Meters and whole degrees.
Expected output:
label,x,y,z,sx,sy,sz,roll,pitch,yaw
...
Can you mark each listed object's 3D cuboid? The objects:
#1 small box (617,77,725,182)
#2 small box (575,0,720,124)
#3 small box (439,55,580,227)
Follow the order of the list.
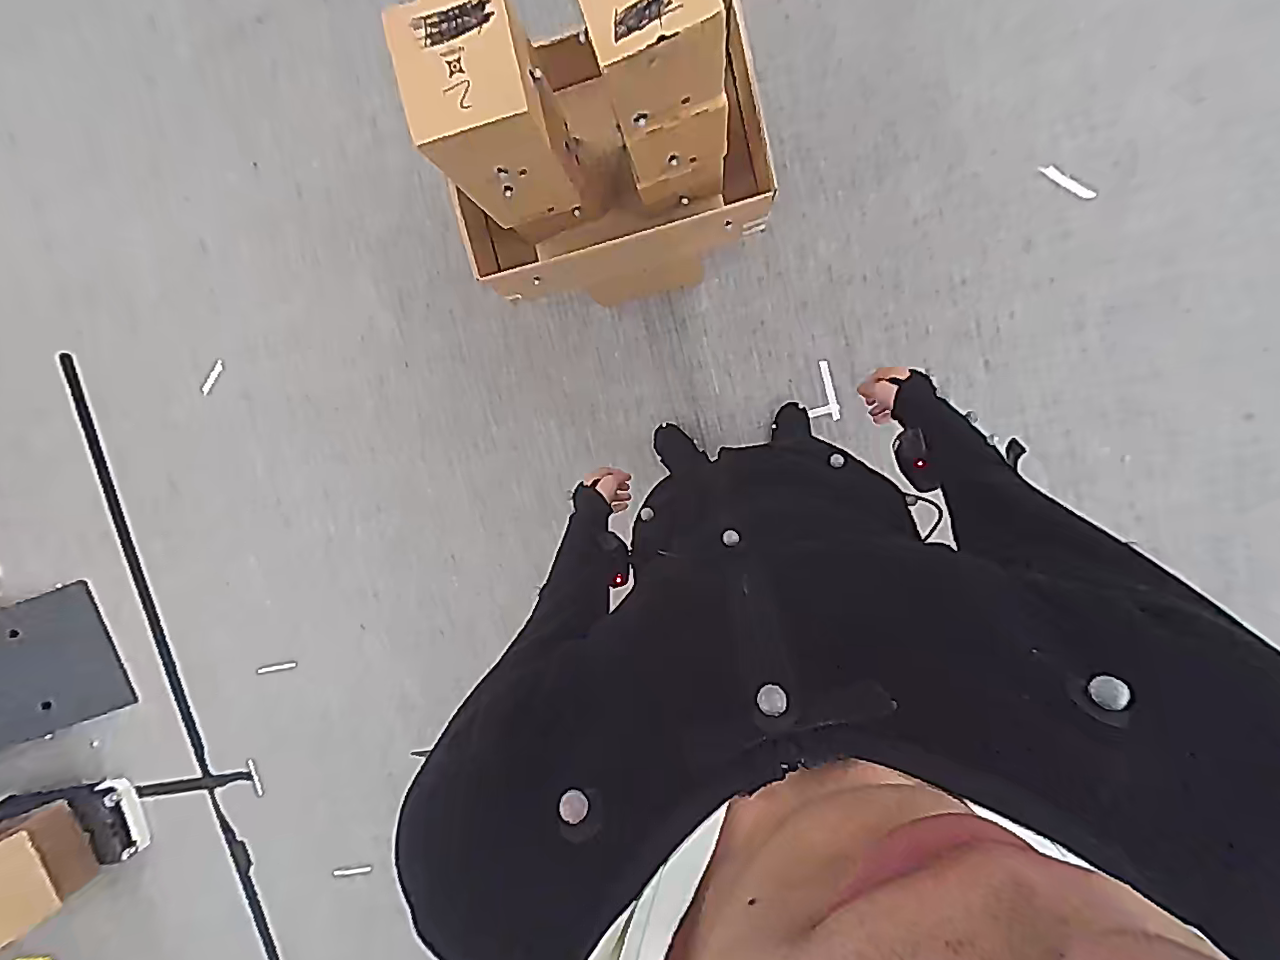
label,x,y,z,sx,sy,sz,roll,pitch,yaw
small box,0.038,-0.640,0.901,0.168,0.176,0.179,-16,95,9
small box,0.007,-0.630,0.740,0.168,0.176,0.179,-19,94,9
small box,-0.218,-0.575,0.942,0.168,0.176,0.179,-12,94,10
